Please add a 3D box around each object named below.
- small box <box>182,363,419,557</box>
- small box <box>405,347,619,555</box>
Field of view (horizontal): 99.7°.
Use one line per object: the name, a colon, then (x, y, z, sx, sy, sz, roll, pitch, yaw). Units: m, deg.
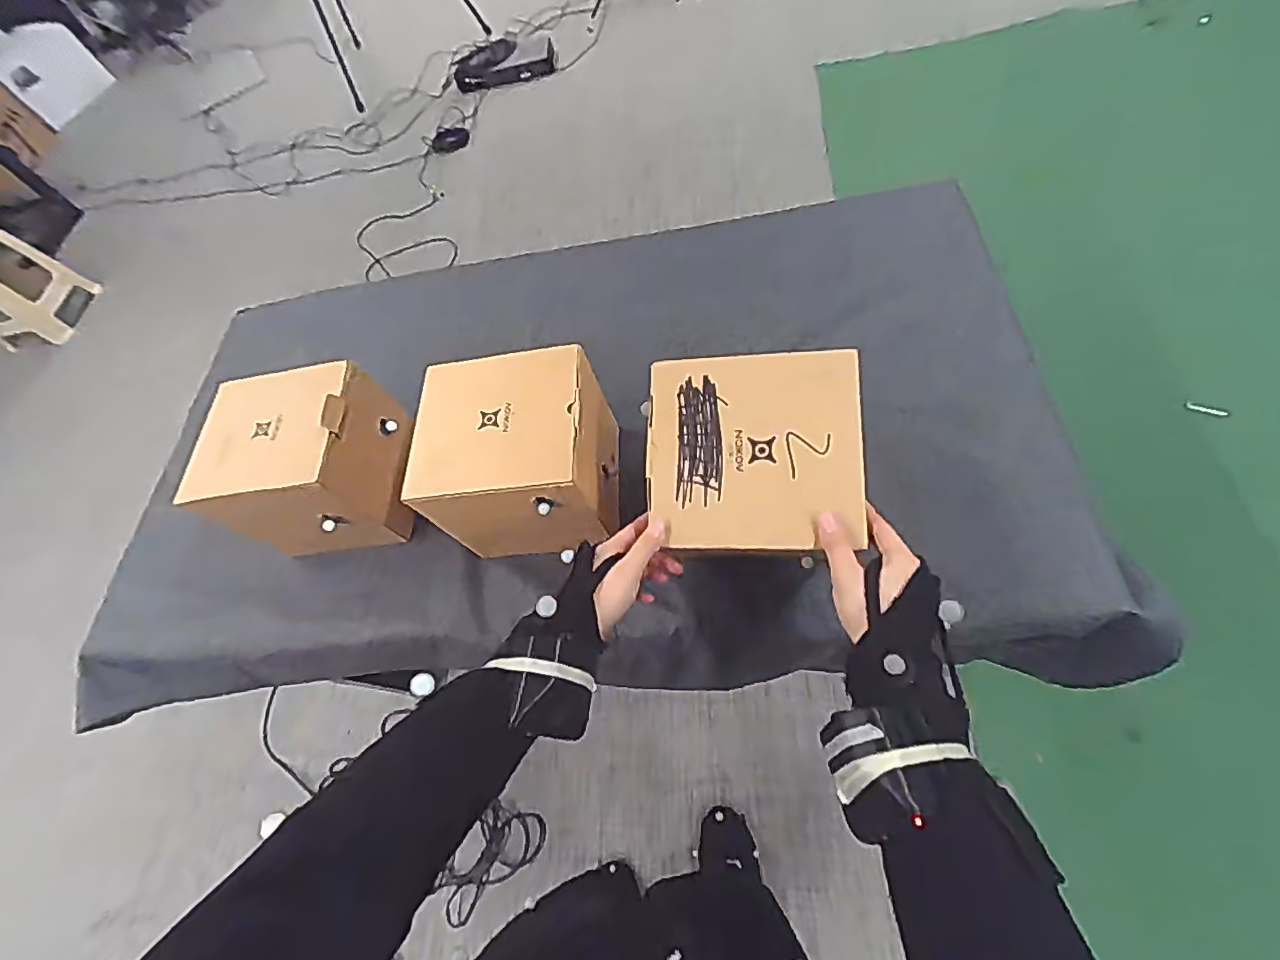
small box: (-0.394, -0.016, 0.672, 0.179, 0.176, 0.168, -9, 60, 9)
small box: (-0.129, -0.022, 0.615, 0.179, 0.176, 0.168, -6, 61, 9)
